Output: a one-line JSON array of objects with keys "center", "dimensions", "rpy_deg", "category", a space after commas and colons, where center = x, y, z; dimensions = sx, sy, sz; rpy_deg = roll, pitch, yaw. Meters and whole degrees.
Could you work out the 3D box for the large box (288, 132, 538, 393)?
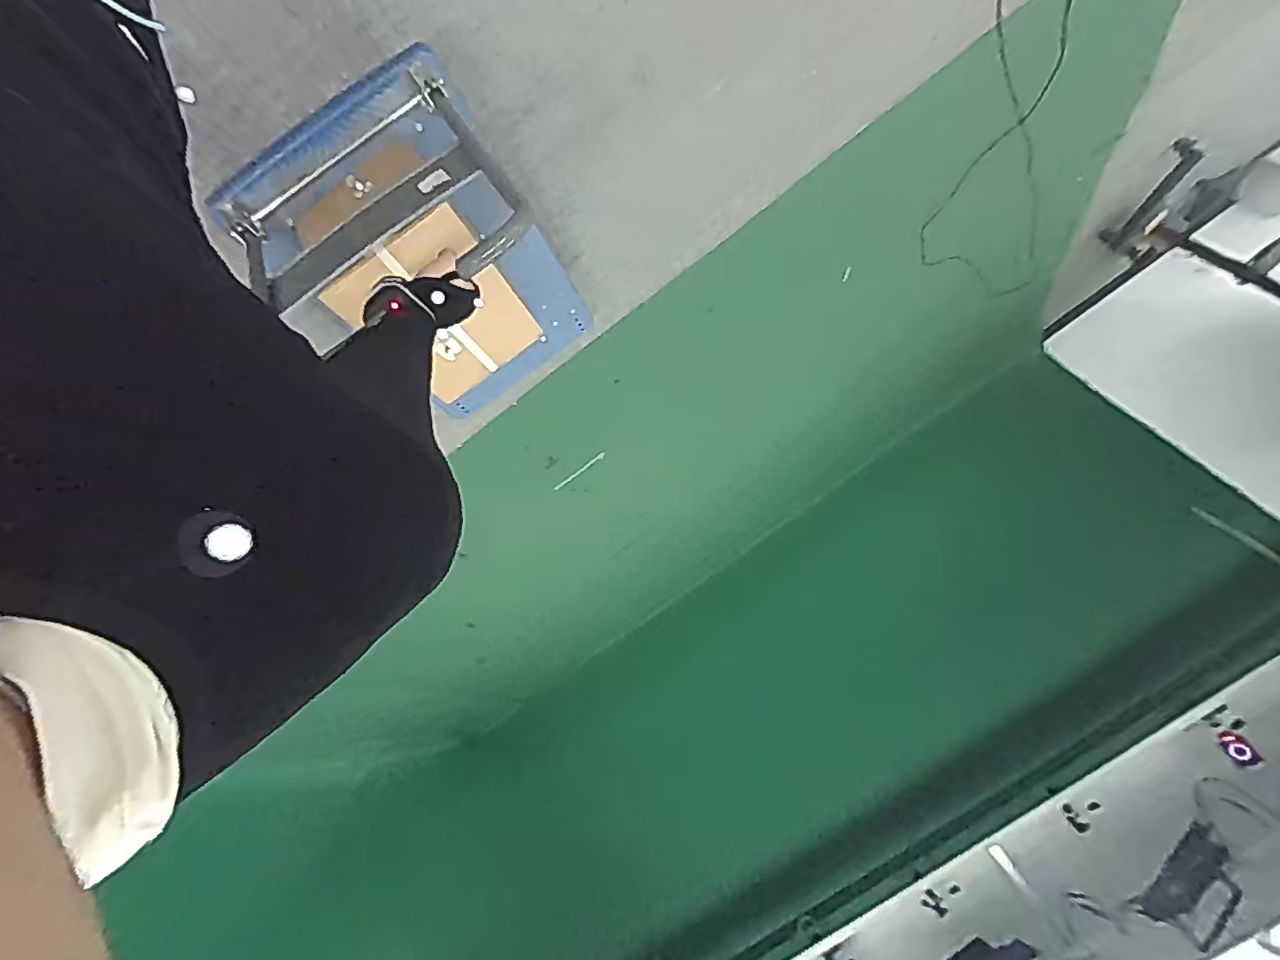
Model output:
[{"center": [-0.515, -0.489, 1.267], "dimensions": [0.320, 0.320, 0.408], "rpy_deg": [-35, 150, 3], "category": "large box"}]
